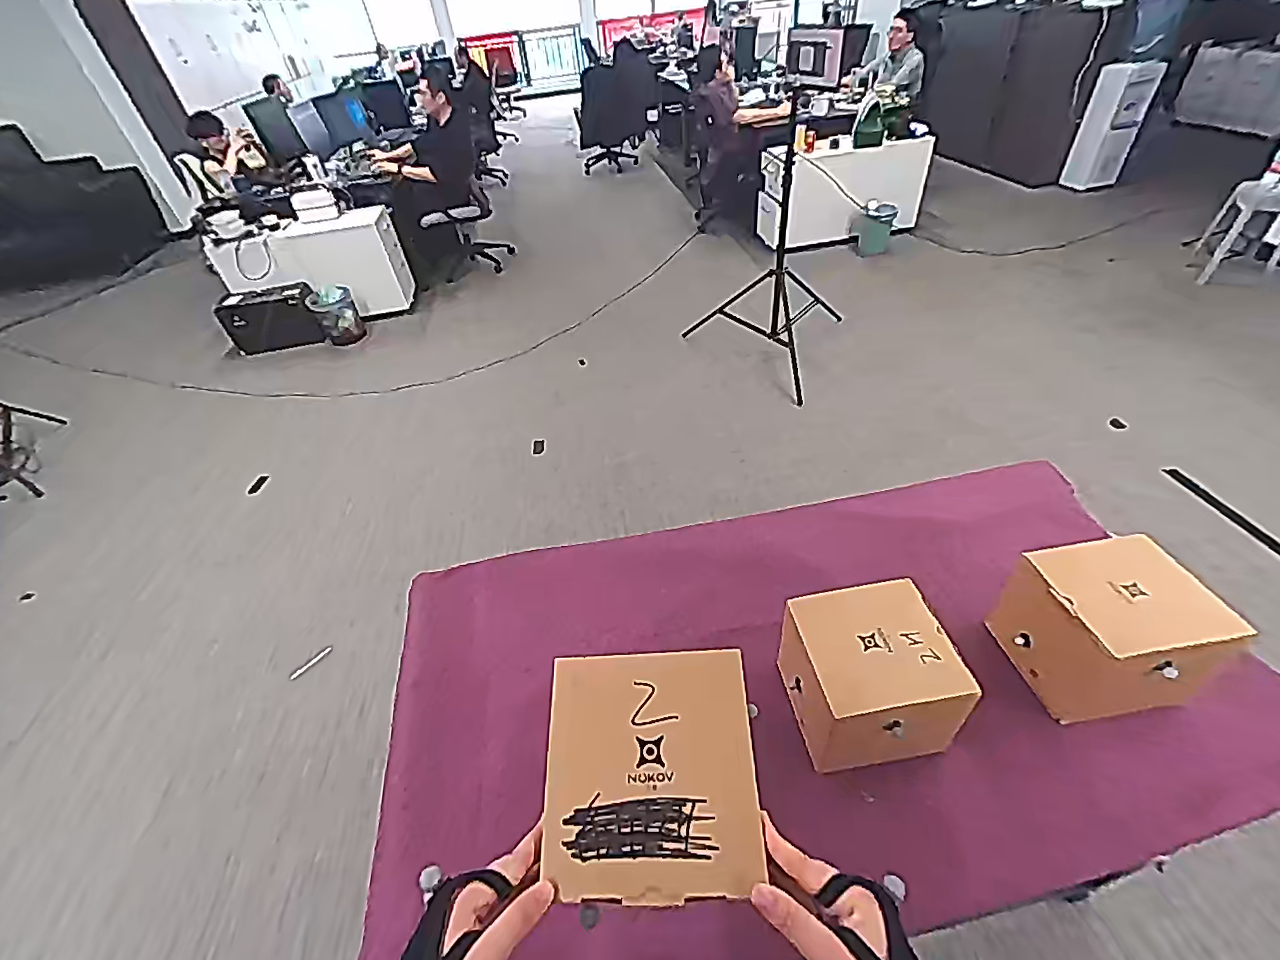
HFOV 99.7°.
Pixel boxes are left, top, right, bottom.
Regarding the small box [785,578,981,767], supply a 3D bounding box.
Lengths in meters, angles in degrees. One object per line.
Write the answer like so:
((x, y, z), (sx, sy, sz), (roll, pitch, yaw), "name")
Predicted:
((0.300, 0.257, 0.718), (0.179, 0.176, 0.168), (-9, 42, -2), "small box")

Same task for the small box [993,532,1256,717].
((0.630, 0.198, 0.736), (0.179, 0.176, 0.168), (-10, 41, -1), "small box")
